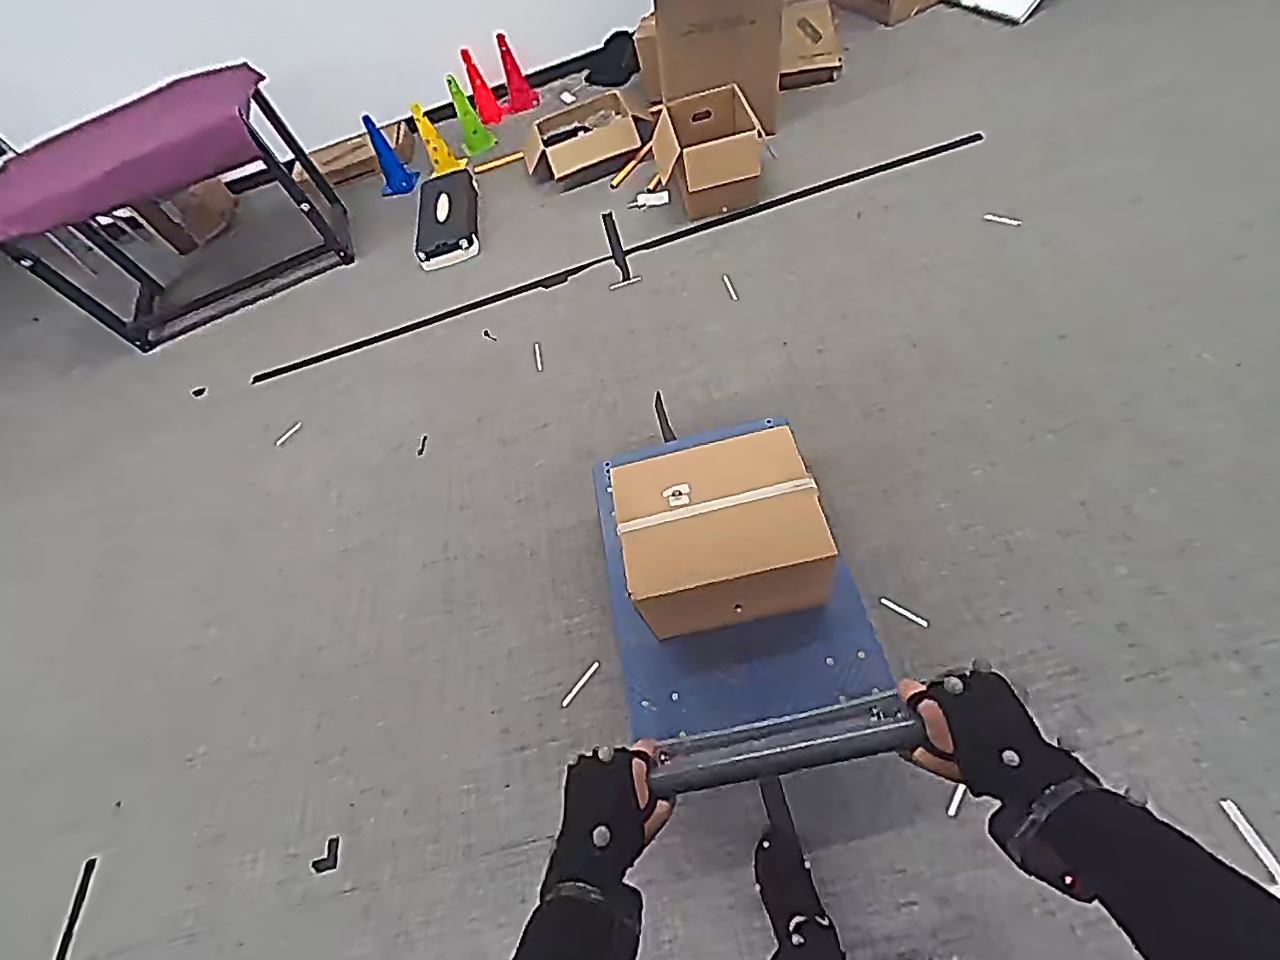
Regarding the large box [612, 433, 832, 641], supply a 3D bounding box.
[{"bbox_3d":[0.185,0.146,1.250,0.408,0.320,0.320,-15,57,6],"label":"large box"}]
